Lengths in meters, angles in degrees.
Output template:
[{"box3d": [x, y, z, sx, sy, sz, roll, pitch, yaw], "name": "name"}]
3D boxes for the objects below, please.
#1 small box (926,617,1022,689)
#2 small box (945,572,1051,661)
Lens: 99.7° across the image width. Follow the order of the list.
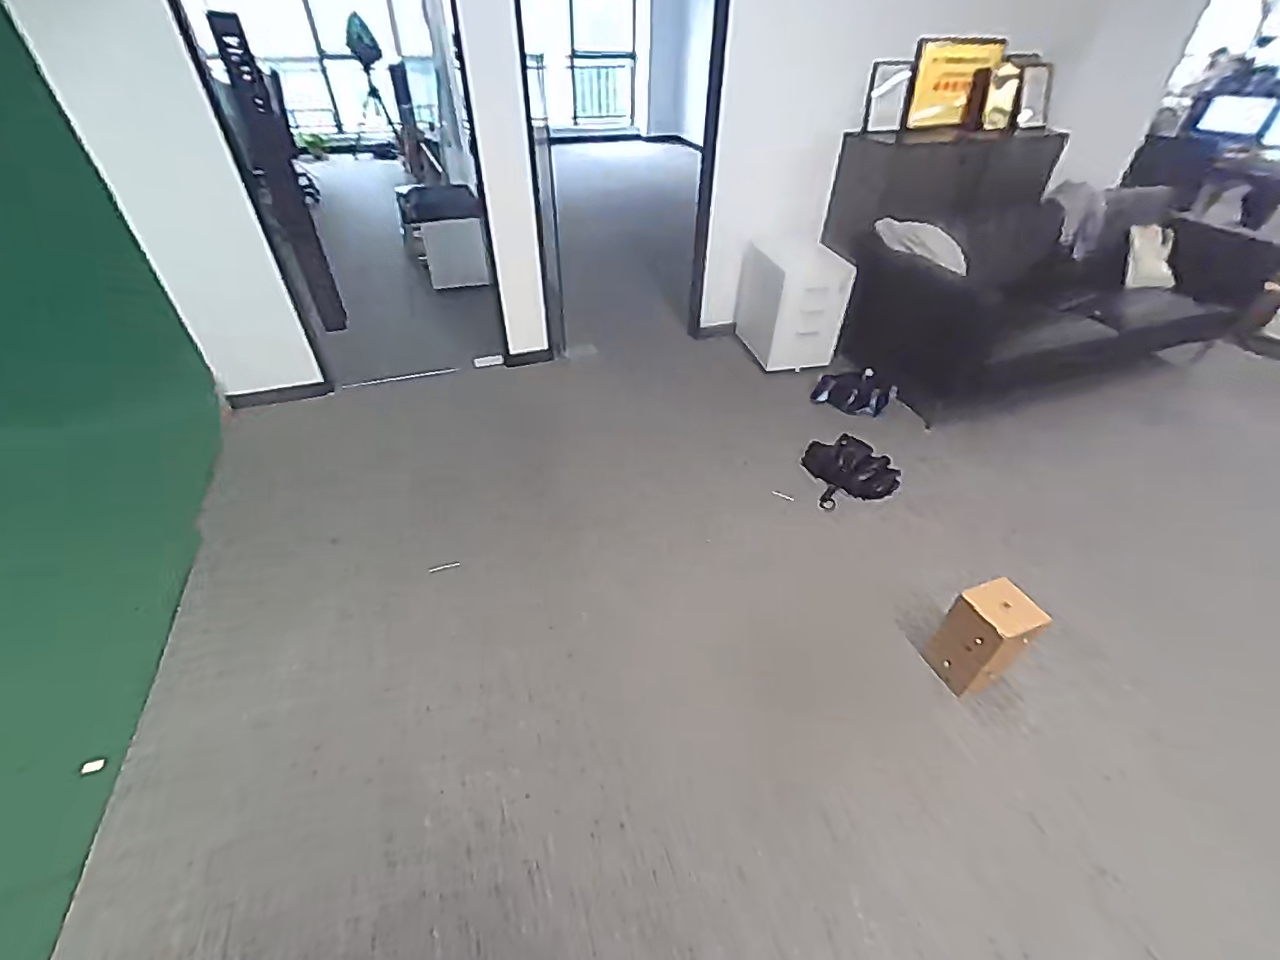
[{"box3d": [1.029, 0.521, 1.688, 0.179, 0.176, 0.168, -15, 44, -17], "name": "small box"}, {"box3d": [1.028, 0.401, 1.578, 0.179, 0.176, 0.168, -14, 45, -17], "name": "small box"}]
